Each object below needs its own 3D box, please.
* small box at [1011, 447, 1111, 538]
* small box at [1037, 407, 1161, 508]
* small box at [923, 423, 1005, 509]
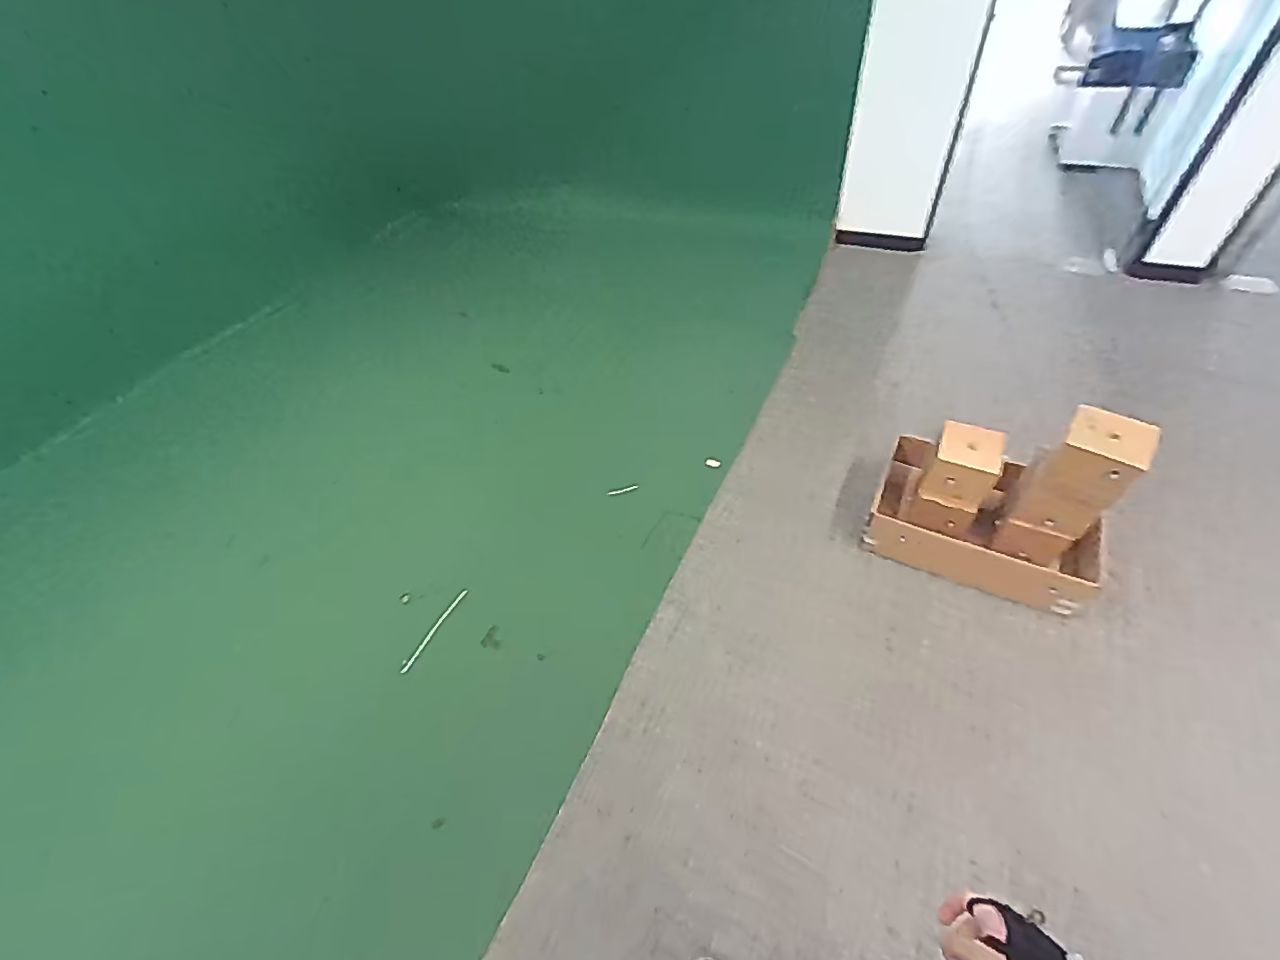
[{"bbox_3d":[1.198,0.041,1.539,0.179,0.176,0.168,21,56,24],"label":"small box"},{"bbox_3d":[1.182,-0.052,1.402,0.179,0.176,0.168,28,60,28],"label":"small box"},{"bbox_3d":[0.978,-0.038,1.643,0.168,0.176,0.179,18,54,19],"label":"small box"}]
